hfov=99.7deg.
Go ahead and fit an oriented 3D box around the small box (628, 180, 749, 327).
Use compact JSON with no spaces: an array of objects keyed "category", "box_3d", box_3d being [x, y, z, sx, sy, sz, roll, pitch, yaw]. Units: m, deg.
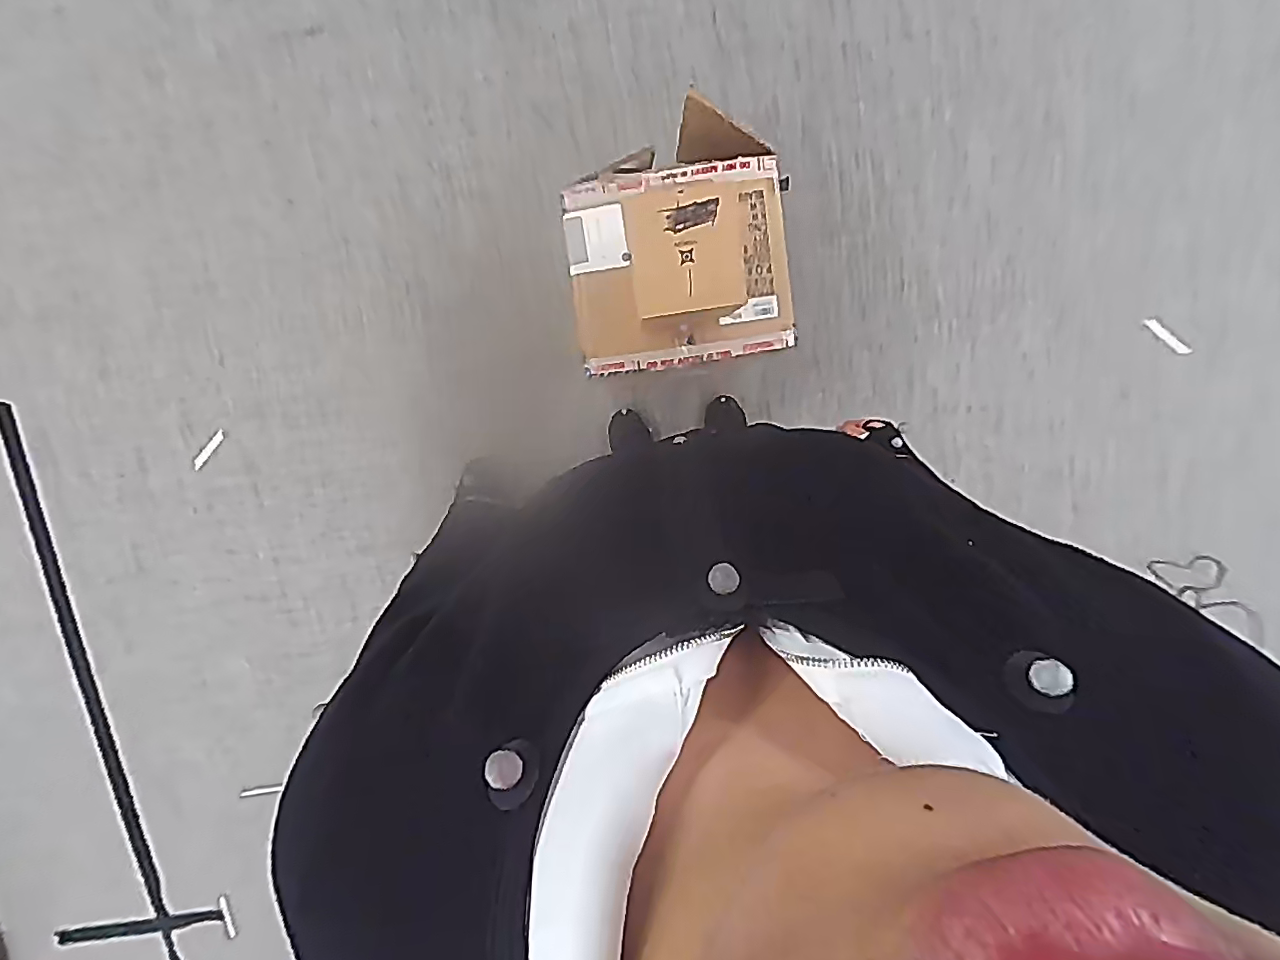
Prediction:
[{"category":"small box","box_3d":[0.071,-0.355,0.876,0.168,0.176,0.179,-8,101,1]}]
